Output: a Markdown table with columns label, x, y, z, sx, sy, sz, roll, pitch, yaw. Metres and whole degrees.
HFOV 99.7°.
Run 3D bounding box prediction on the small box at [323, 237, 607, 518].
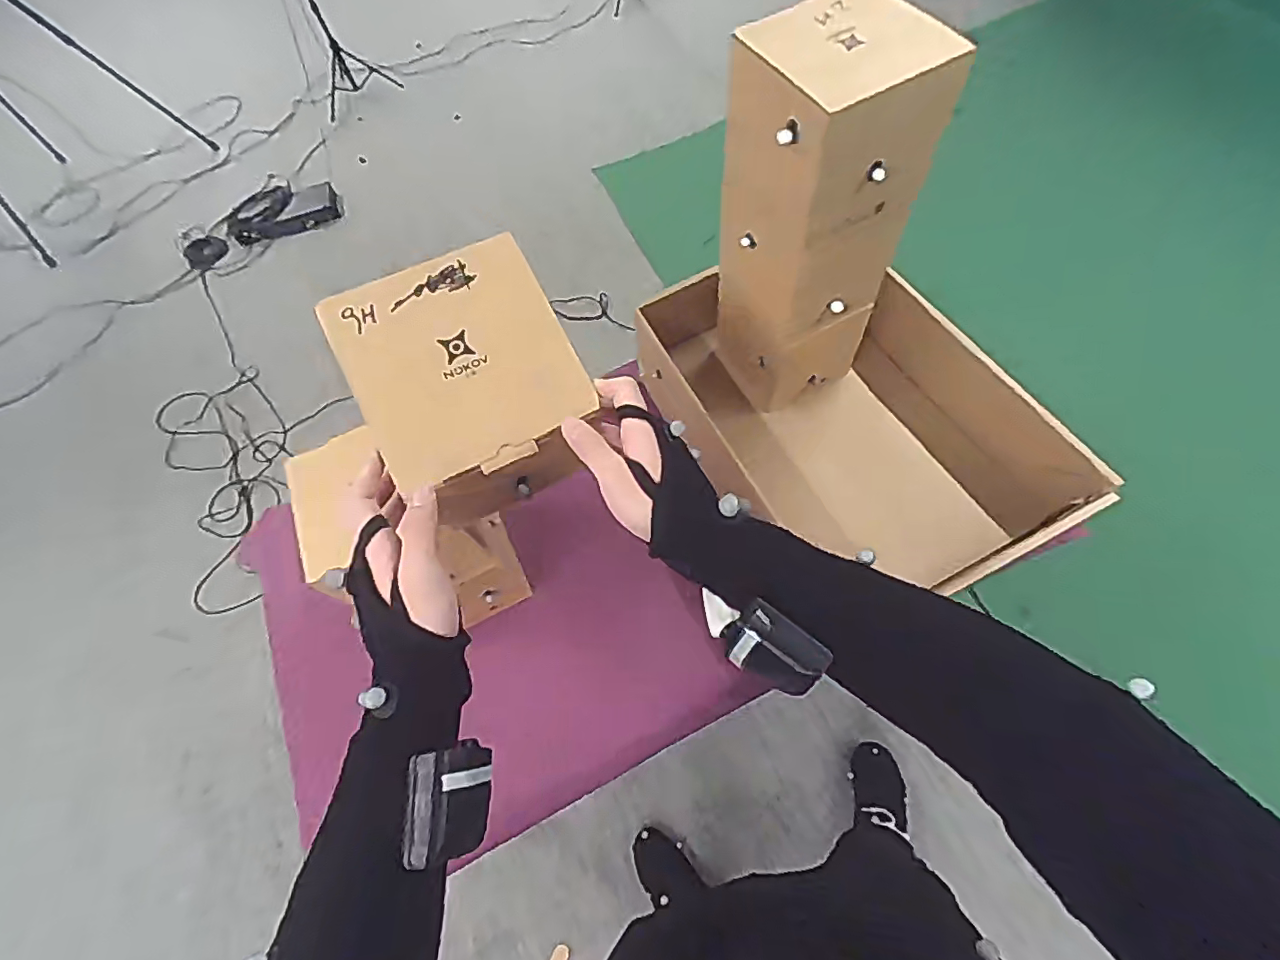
| label | x | y | z | sx | sy | sz | roll | pitch | yaw |
| --- | --- | --- | --- | --- | --- | --- | --- | --- | --- |
| small box | -0.143 | -0.075 | 0.496 | 0.168 | 0.176 | 0.179 | -26 | 83 | -12 |

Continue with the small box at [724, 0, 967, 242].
| label | x | y | z | sx | sy | sz | roll | pitch | yaw |
| --- | --- | --- | --- | --- | --- | --- | --- | --- | --- |
| small box | 0.208 | -0.397 | 0.604 | 0.168 | 0.176 | 0.179 | -27 | 64 | -7 |

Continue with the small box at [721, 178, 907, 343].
| label | x | y | z | sx | sy | sz | roll | pitch | yaw |
| --- | --- | --- | --- | --- | --- | --- | --- | --- | --- |
| small box | 0.224 | -0.328 | 0.754 | 0.168 | 0.176 | 0.179 | -28 | 65 | -6 |

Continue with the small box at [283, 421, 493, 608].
| label | x | y | z | sx | sy | sz | roll | pitch | yaw |
| --- | --- | --- | --- | --- | --- | --- | --- | --- | --- |
| small box | -0.310 | 0.047 | 0.690 | 0.168 | 0.176 | 0.179 | -26 | 63 | -7 |

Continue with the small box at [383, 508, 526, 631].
| label | x | y | z | sx | sy | sz | roll | pitch | yaw |
| --- | --- | --- | --- | --- | --- | --- | --- | --- | --- |
| small box | -0.295 | 0.116 | 0.835 | 0.168 | 0.176 | 0.179 | -26 | 63 | -8 |
